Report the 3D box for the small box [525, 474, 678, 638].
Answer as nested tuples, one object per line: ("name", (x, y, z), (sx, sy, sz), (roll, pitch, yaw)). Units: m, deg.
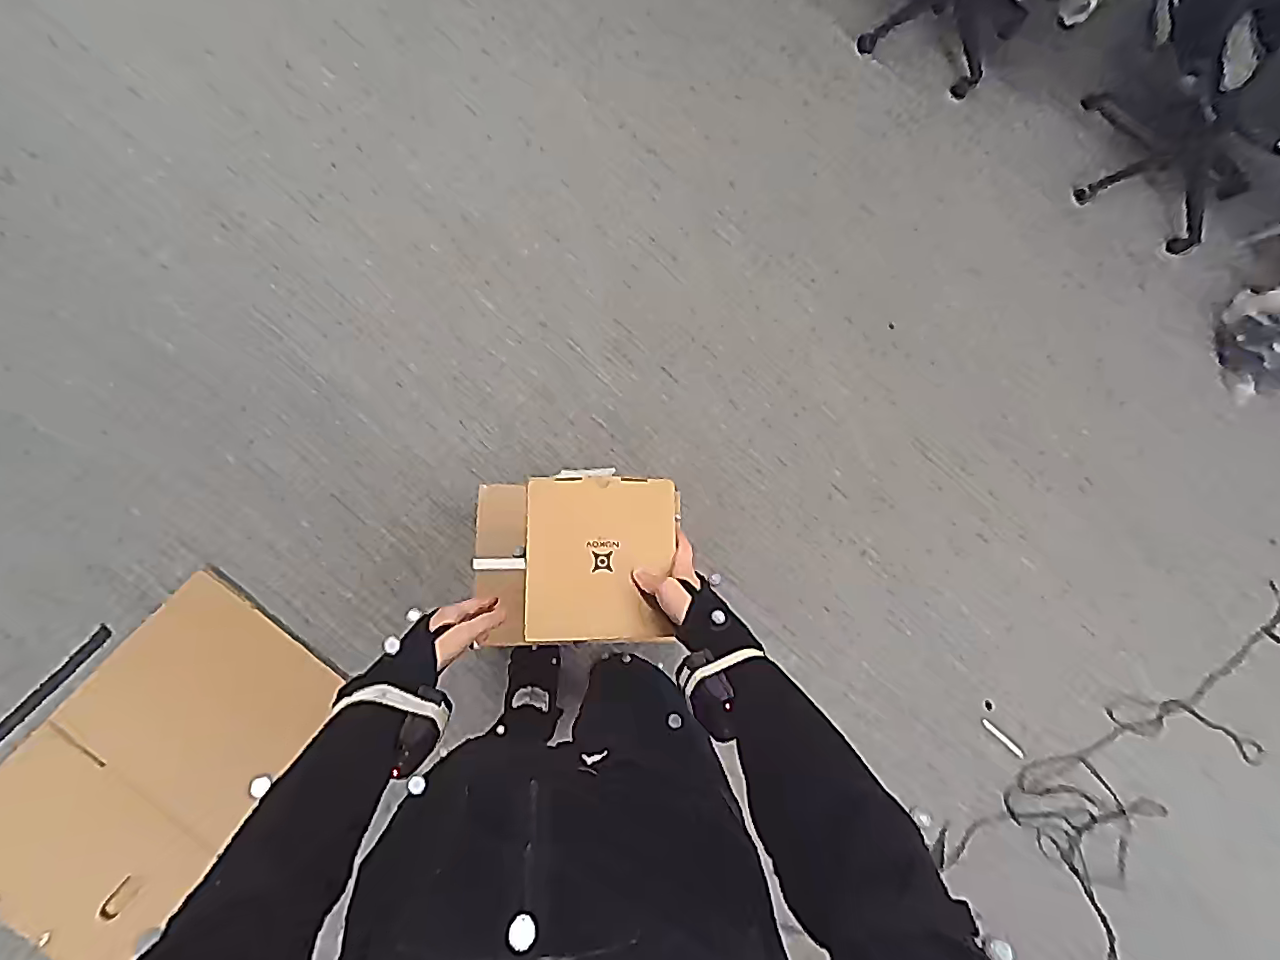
("small box", (-0.051, 0.094, 0.665), (0.168, 0.176, 0.179), (0, 78, -9))
